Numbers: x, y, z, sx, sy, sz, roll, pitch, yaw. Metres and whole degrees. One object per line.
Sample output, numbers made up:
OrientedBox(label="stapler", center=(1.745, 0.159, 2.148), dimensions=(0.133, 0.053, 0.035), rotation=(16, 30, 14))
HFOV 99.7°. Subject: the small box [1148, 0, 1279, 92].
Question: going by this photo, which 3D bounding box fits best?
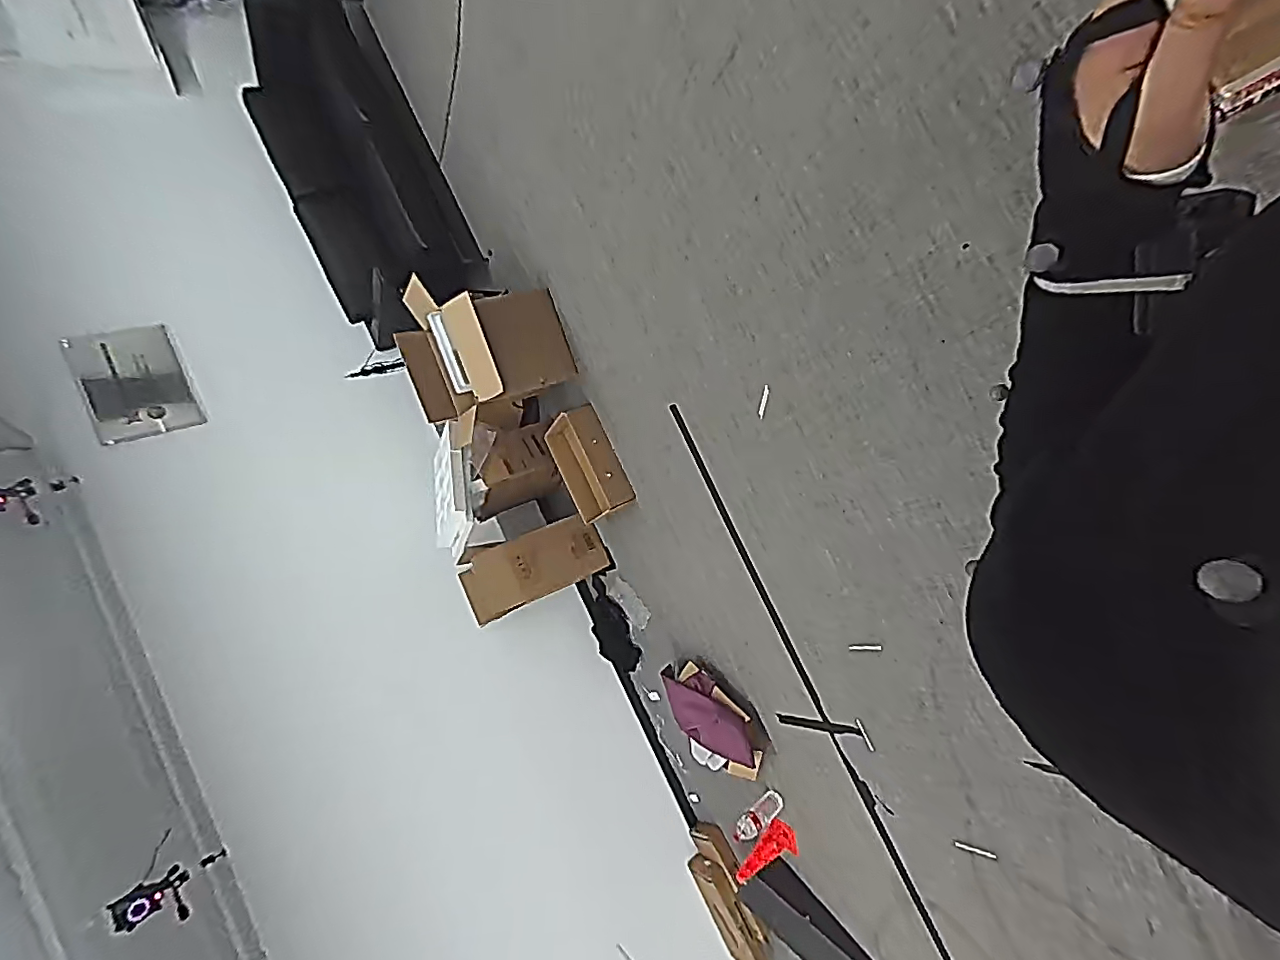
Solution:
OrientedBox(label="small box", center=(0.647, -0.530, 0.536), dimensions=(0.179, 0.176, 0.168), rotation=(-16, 98, 61))
